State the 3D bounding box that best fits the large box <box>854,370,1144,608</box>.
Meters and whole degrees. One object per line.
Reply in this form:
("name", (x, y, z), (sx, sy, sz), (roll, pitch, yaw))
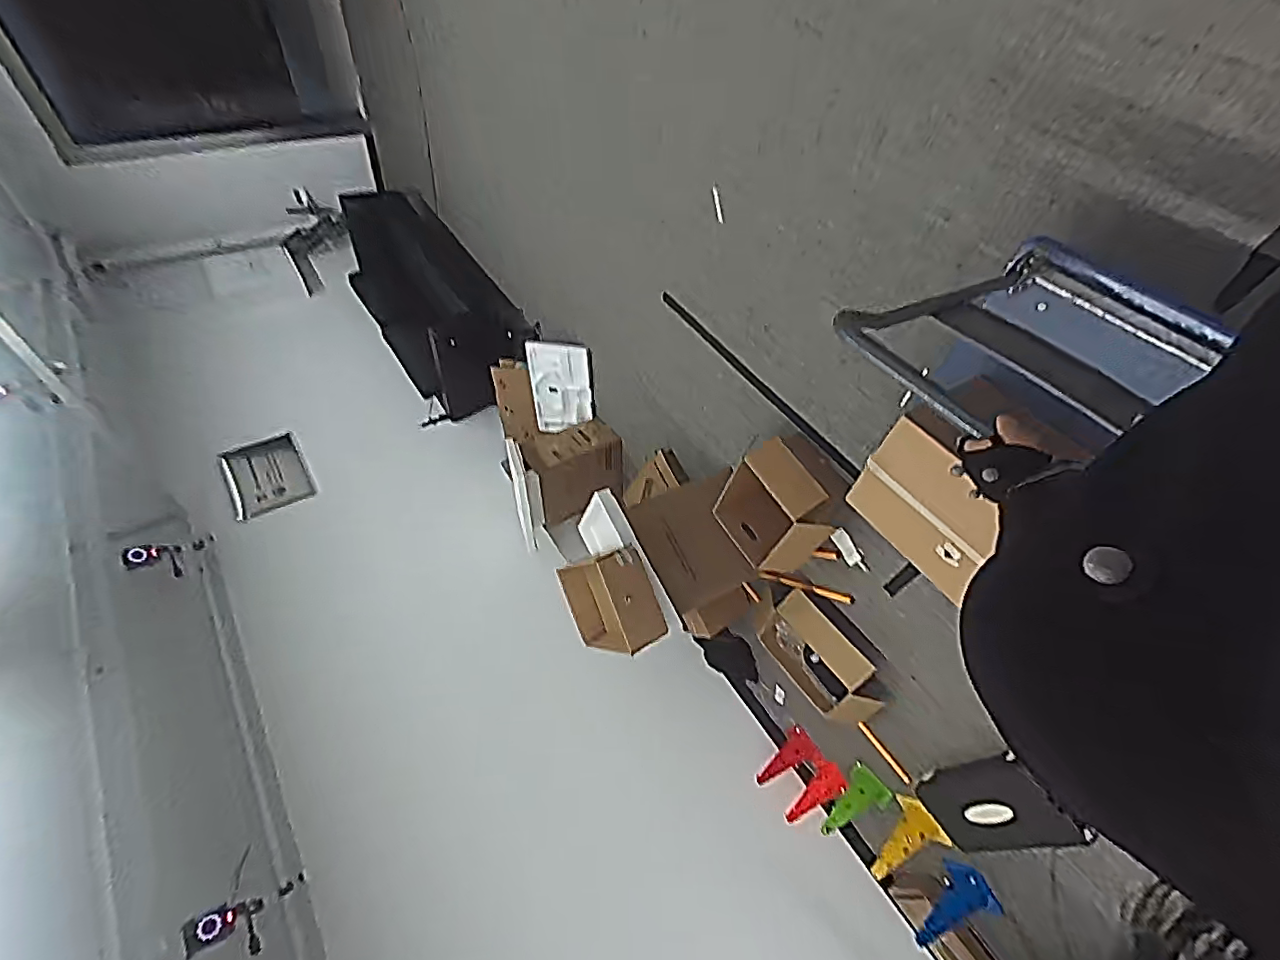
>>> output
("large box", (0.806, 0.008, 1.265), (0.408, 0.320, 0.320), (50, 151, 28))
